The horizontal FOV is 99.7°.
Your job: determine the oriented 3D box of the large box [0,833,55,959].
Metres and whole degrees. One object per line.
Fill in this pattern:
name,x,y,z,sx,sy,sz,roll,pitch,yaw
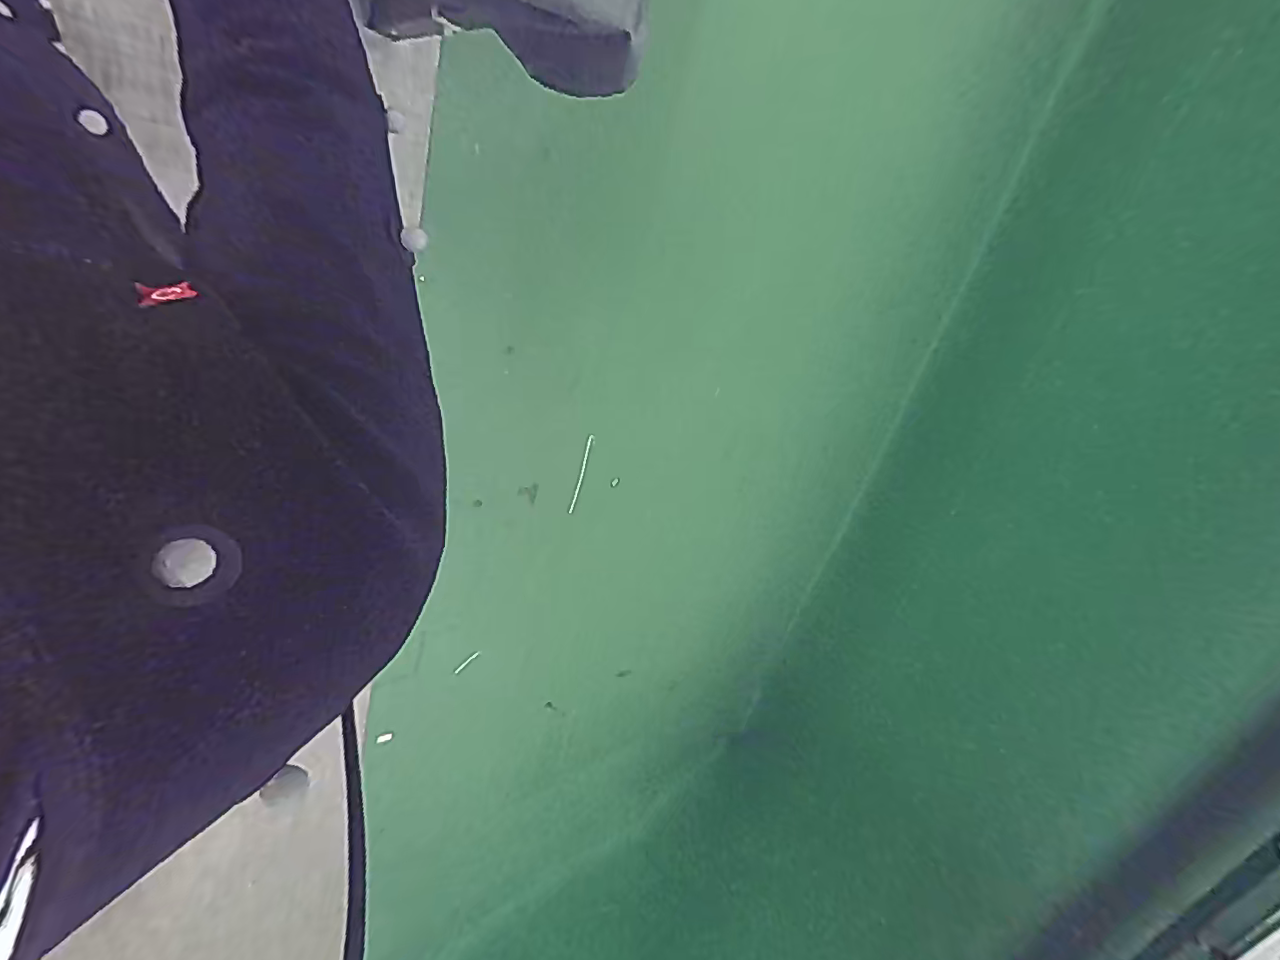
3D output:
large box,-1.585,1.072,1.155,0.408,0.320,0.320,-8,123,-40
